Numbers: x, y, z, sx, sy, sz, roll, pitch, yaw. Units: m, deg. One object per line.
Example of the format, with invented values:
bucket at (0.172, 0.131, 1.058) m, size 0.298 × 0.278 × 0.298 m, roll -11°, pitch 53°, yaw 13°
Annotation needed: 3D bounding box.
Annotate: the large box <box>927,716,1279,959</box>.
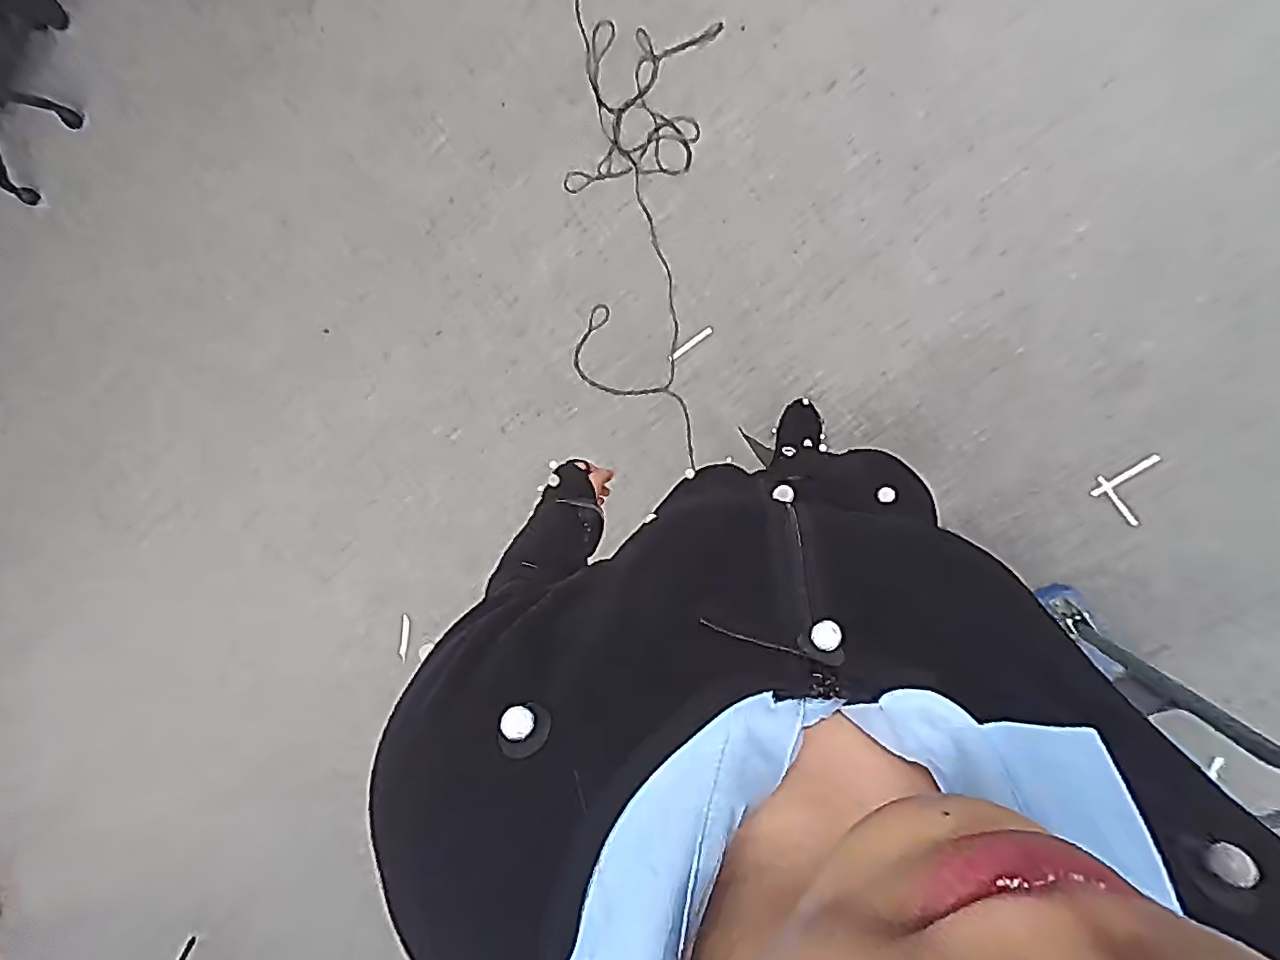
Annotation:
large box at (0.868, 0.740, 1.065) m, size 0.408 × 0.320 × 0.320 m, roll -28°, pitch 89°, yaw 15°
